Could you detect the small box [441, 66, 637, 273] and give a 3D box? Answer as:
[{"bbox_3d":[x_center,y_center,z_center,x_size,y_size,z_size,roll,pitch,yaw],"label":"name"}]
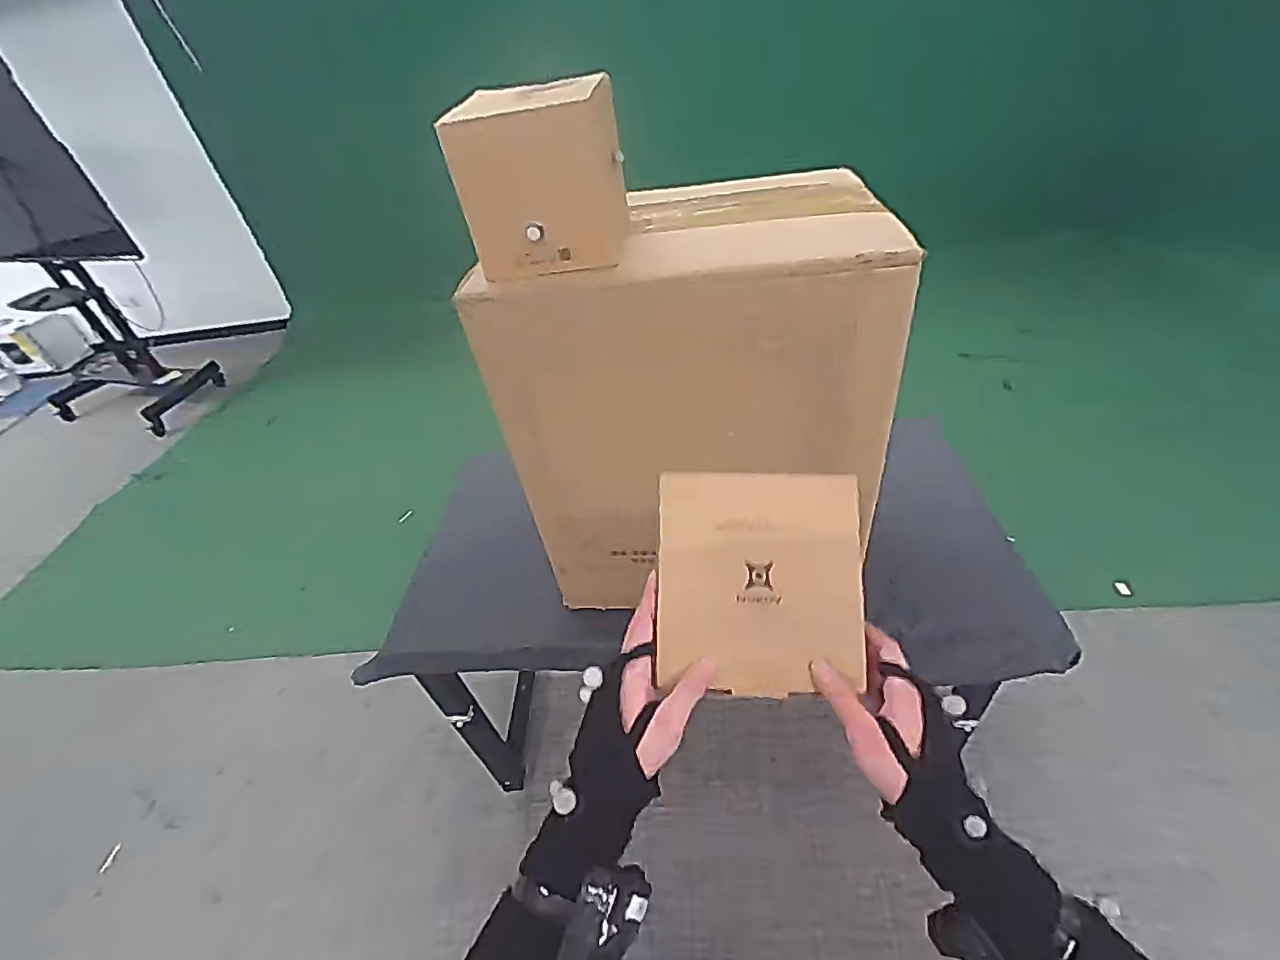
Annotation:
[{"bbox_3d":[-0.099,-0.363,0.636,0.168,0.176,0.179,-2,44,10],"label":"small box"}]
